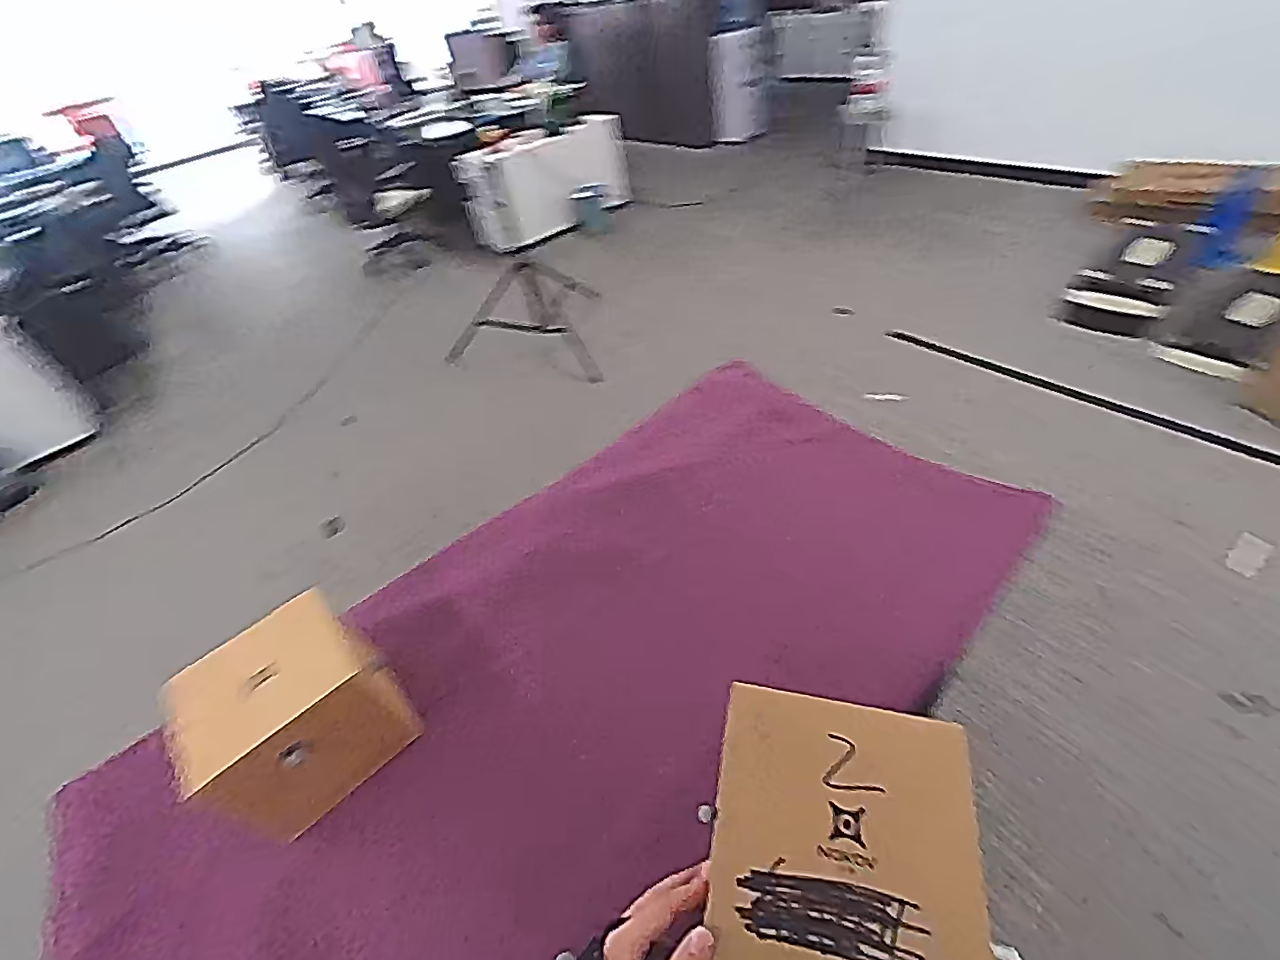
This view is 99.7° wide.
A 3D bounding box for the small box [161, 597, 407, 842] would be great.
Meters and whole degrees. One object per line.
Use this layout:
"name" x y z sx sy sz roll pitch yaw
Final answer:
"small box" -0.408 0.284 0.647 0.179 0.176 0.168 -38 49 -24
